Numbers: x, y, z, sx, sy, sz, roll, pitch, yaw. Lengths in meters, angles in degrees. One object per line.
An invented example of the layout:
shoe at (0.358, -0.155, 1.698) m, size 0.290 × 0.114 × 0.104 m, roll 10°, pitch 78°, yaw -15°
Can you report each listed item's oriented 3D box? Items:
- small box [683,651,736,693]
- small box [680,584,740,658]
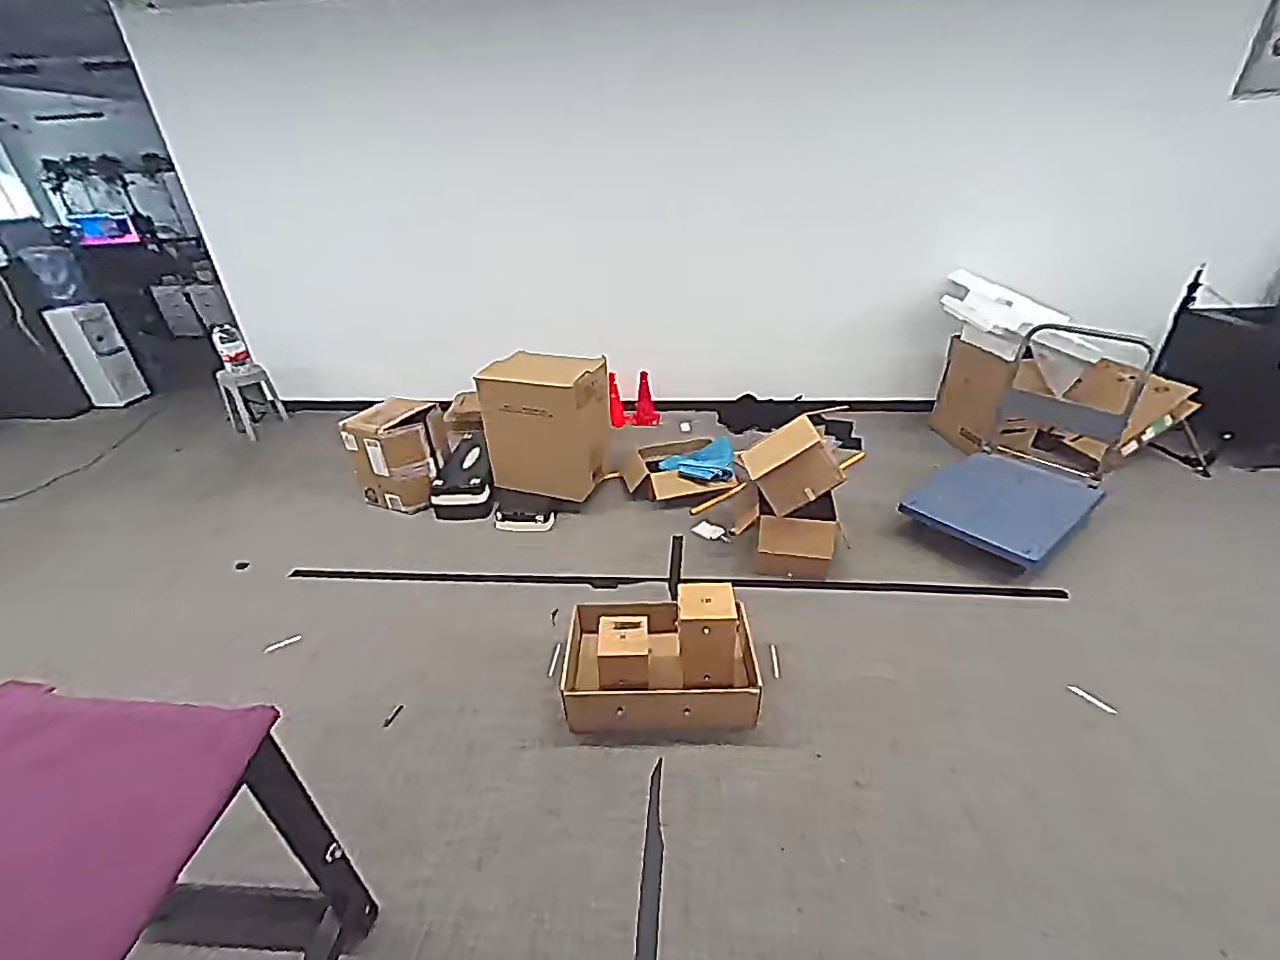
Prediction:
small box at (0.229, 0.592, 1.812) m, size 0.168 × 0.176 × 0.179 m, roll -1°, pitch 29°, yaw 2°
small box at (0.218, 0.451, 1.731) m, size 0.179 × 0.176 × 0.168 m, roll -2°, pitch 30°, yaw 3°
